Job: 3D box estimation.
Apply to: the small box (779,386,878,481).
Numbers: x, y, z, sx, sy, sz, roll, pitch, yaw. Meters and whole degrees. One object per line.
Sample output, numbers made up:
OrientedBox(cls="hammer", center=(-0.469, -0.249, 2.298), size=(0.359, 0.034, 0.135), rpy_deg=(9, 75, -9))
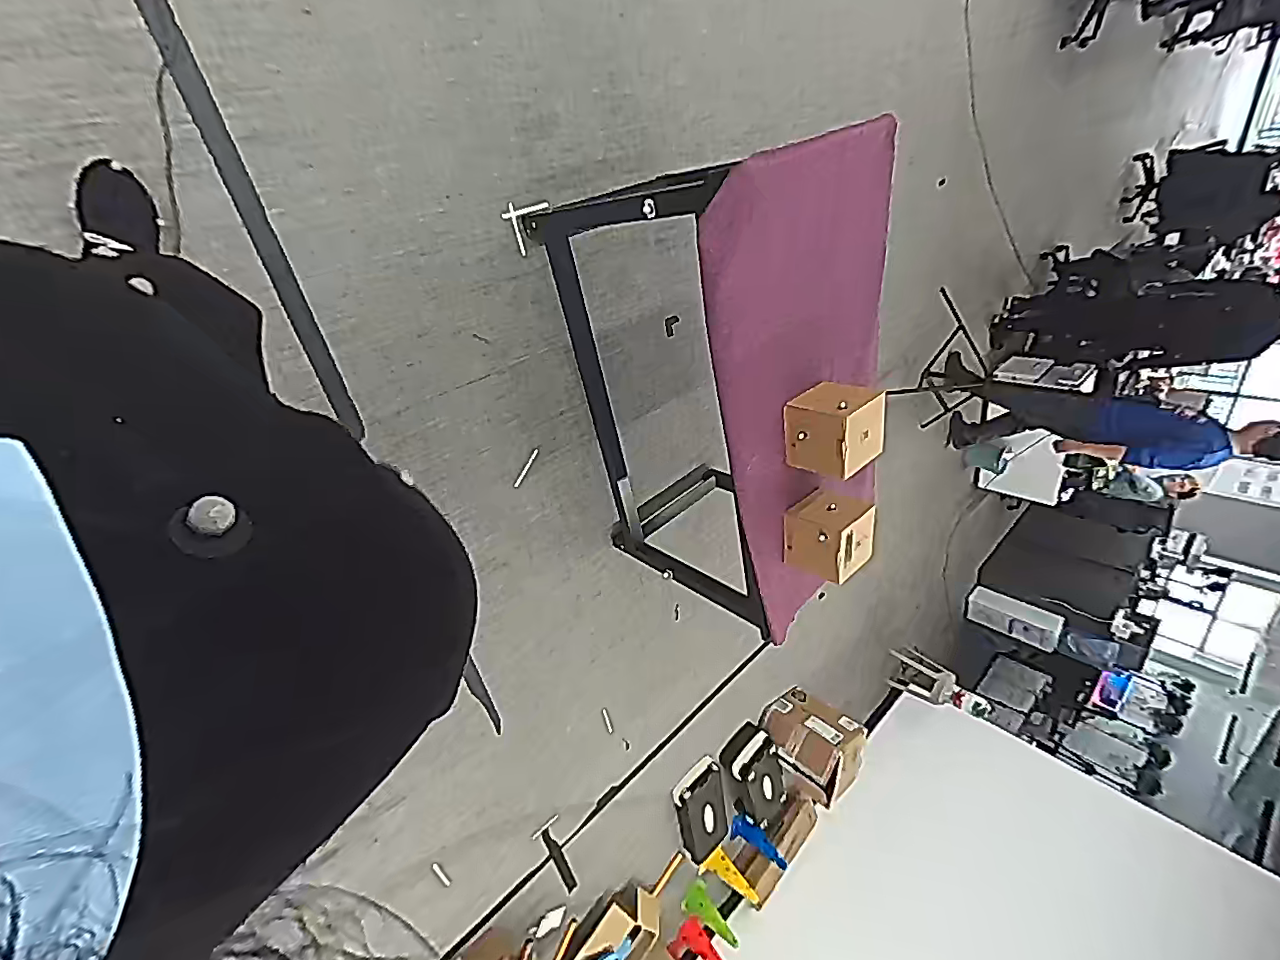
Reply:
OrientedBox(cls="small box", center=(0.465, -0.124, 1.341), size=(0.179, 0.176, 0.168), rpy_deg=(-30, 124, -31))
